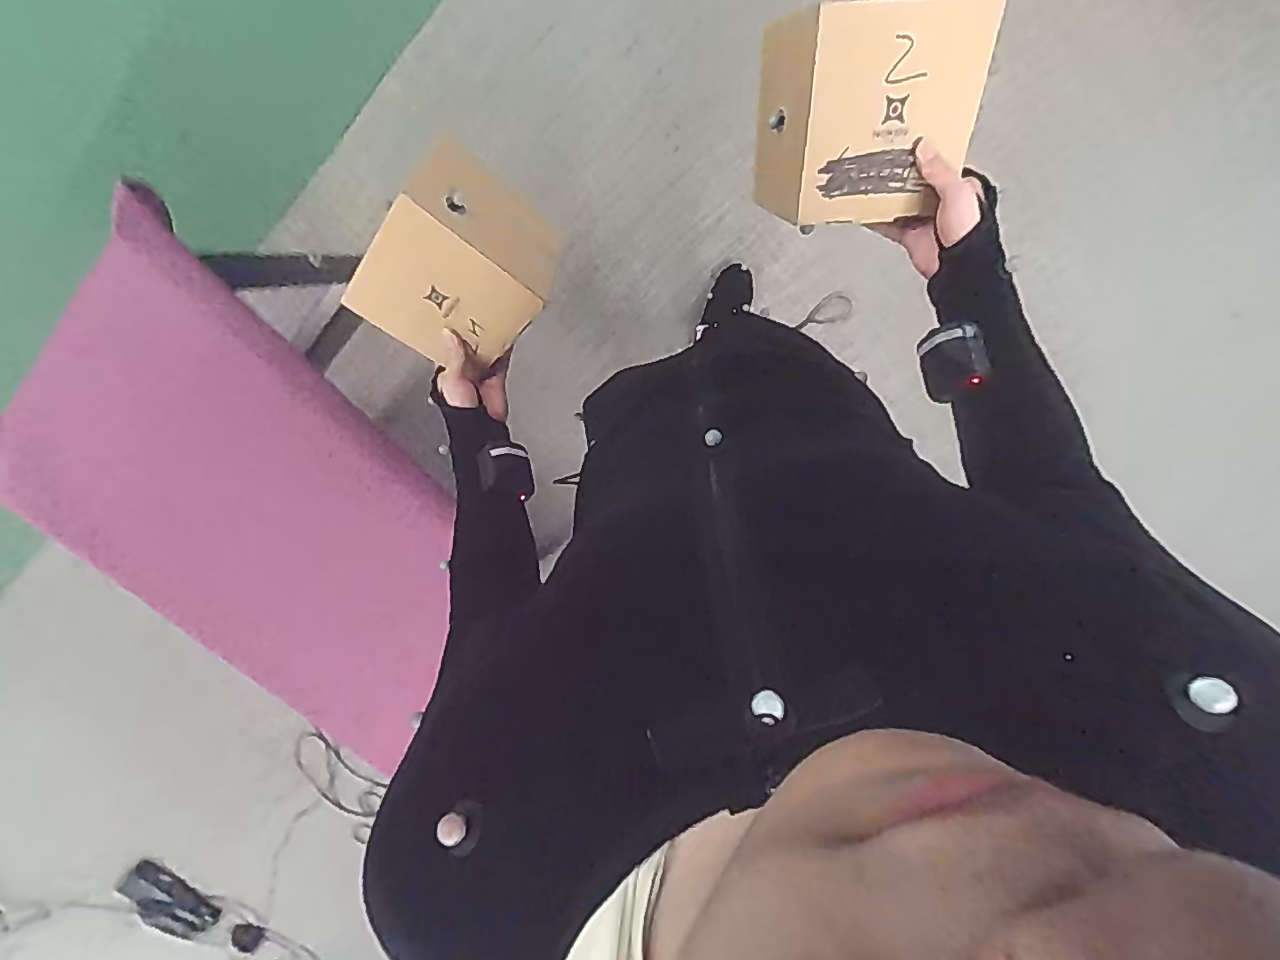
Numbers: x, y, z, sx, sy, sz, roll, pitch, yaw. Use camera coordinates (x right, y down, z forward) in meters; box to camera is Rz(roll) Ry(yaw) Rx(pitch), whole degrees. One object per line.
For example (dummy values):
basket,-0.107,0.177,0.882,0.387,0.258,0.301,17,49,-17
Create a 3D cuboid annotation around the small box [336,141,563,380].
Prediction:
small box,-0.213,-0.261,0.640,0.179,0.176,0.168,33,132,-30
